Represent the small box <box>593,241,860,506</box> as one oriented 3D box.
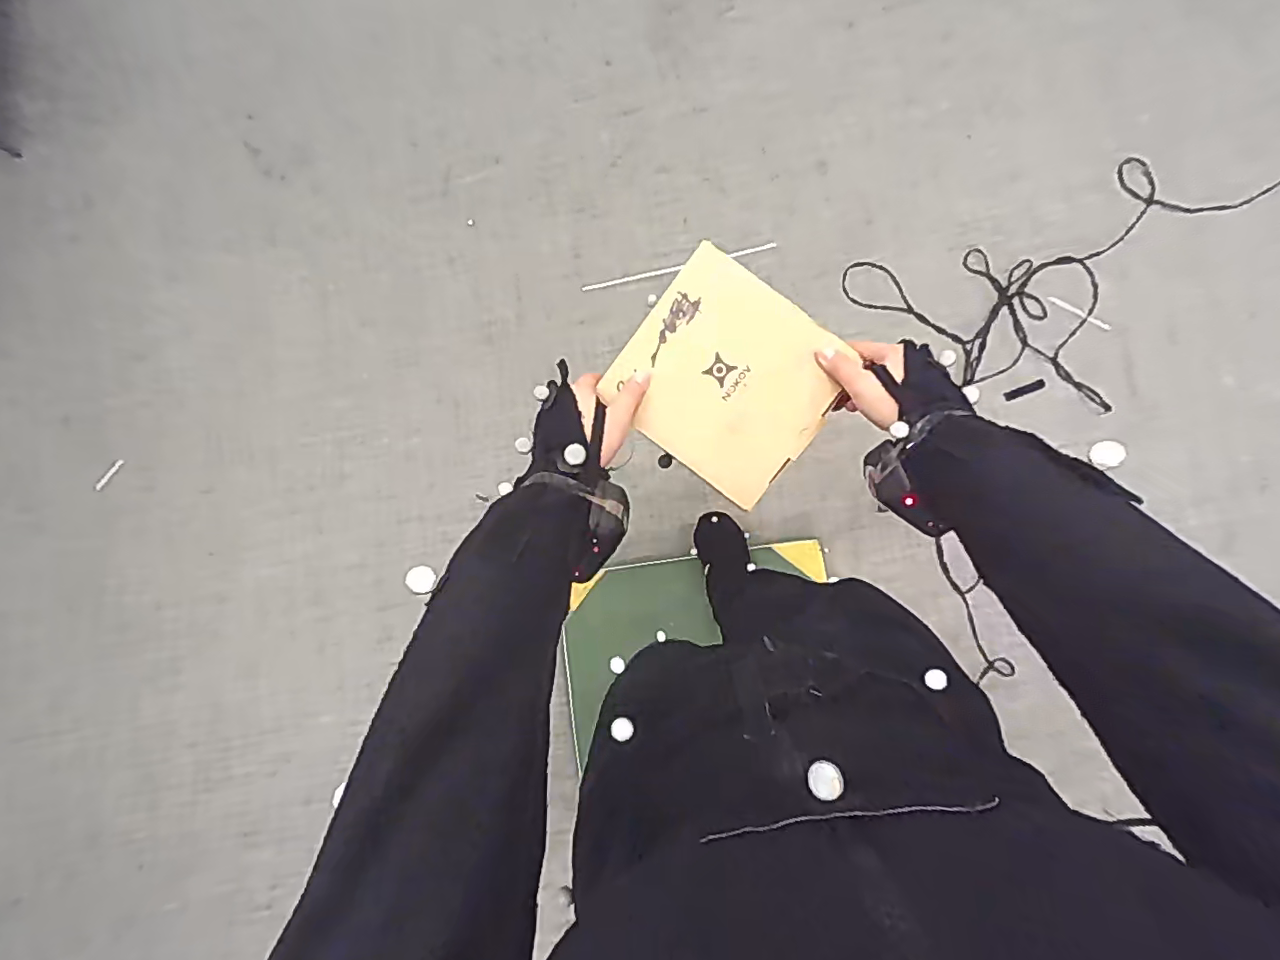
[{"bbox_3d":[0.078,-0.097,0.548,0.179,0.176,0.168,37,94,0],"label":"small box"}]
